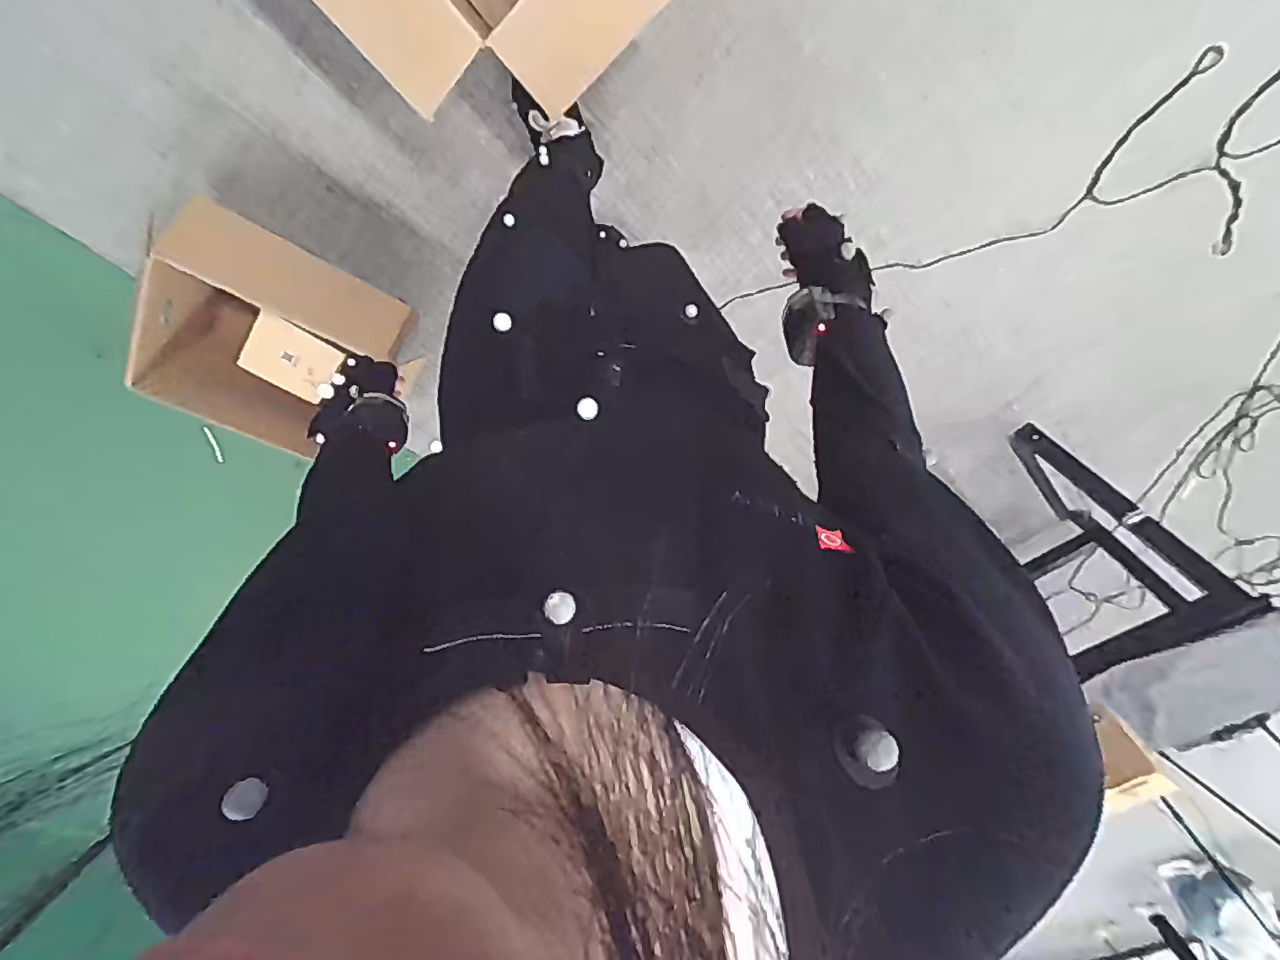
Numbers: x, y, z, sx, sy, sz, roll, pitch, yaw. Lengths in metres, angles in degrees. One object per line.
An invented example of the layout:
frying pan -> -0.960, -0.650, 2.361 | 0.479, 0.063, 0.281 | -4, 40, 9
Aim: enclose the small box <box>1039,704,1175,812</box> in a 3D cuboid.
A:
small box -> 1.133, 0.677, 1.326 | 0.179, 0.176, 0.168 | 33, 118, -28
